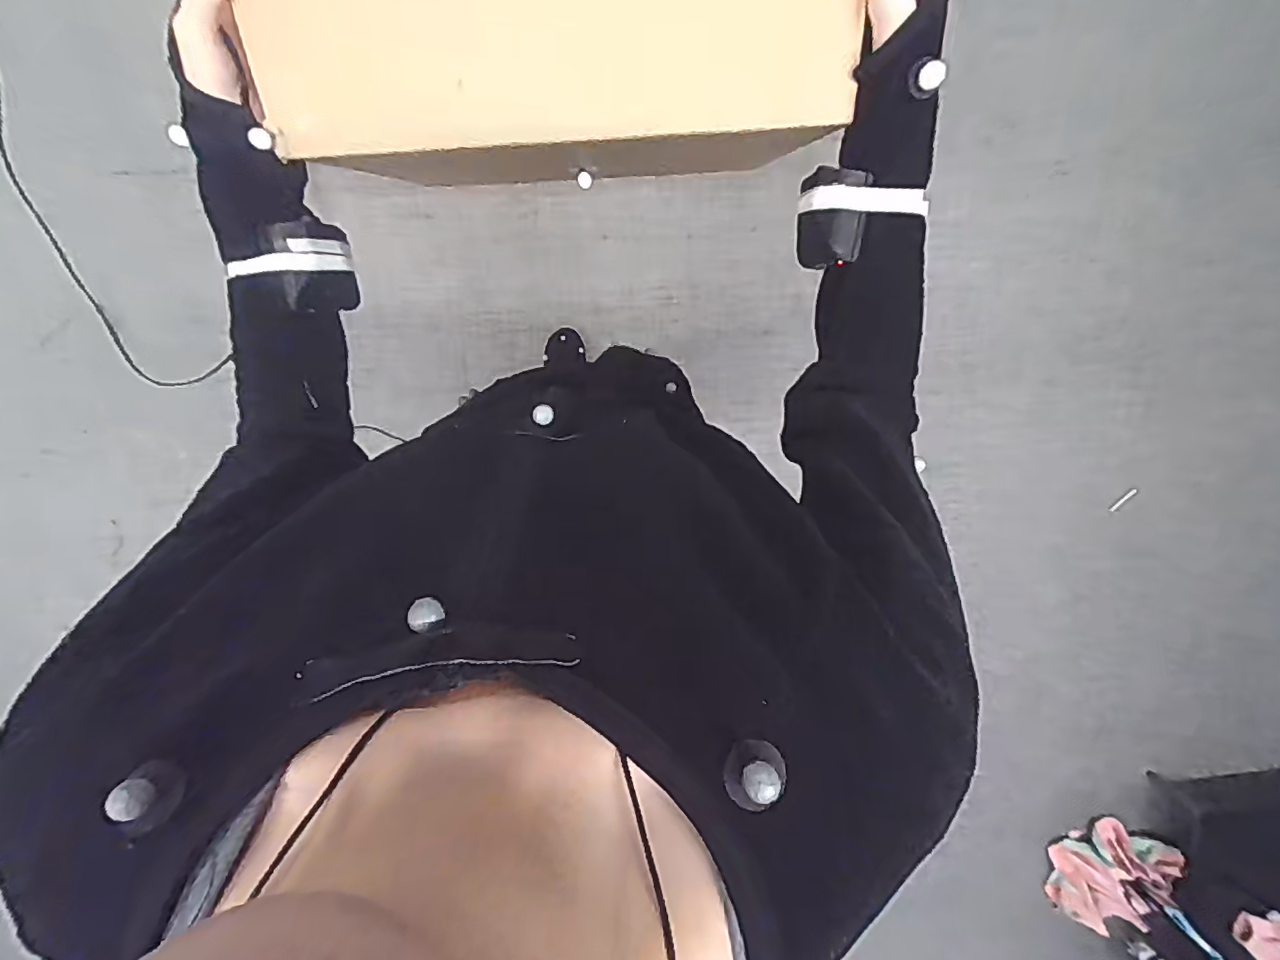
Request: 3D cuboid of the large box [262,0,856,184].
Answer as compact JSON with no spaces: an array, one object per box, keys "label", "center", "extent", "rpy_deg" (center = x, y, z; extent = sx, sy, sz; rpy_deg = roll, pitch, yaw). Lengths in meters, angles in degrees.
[{"label":"large box","center":[-0.058,-0.451,0.466],"extent":[0.408,0.320,0.320],"rpy_deg":[-3,114,1]}]
